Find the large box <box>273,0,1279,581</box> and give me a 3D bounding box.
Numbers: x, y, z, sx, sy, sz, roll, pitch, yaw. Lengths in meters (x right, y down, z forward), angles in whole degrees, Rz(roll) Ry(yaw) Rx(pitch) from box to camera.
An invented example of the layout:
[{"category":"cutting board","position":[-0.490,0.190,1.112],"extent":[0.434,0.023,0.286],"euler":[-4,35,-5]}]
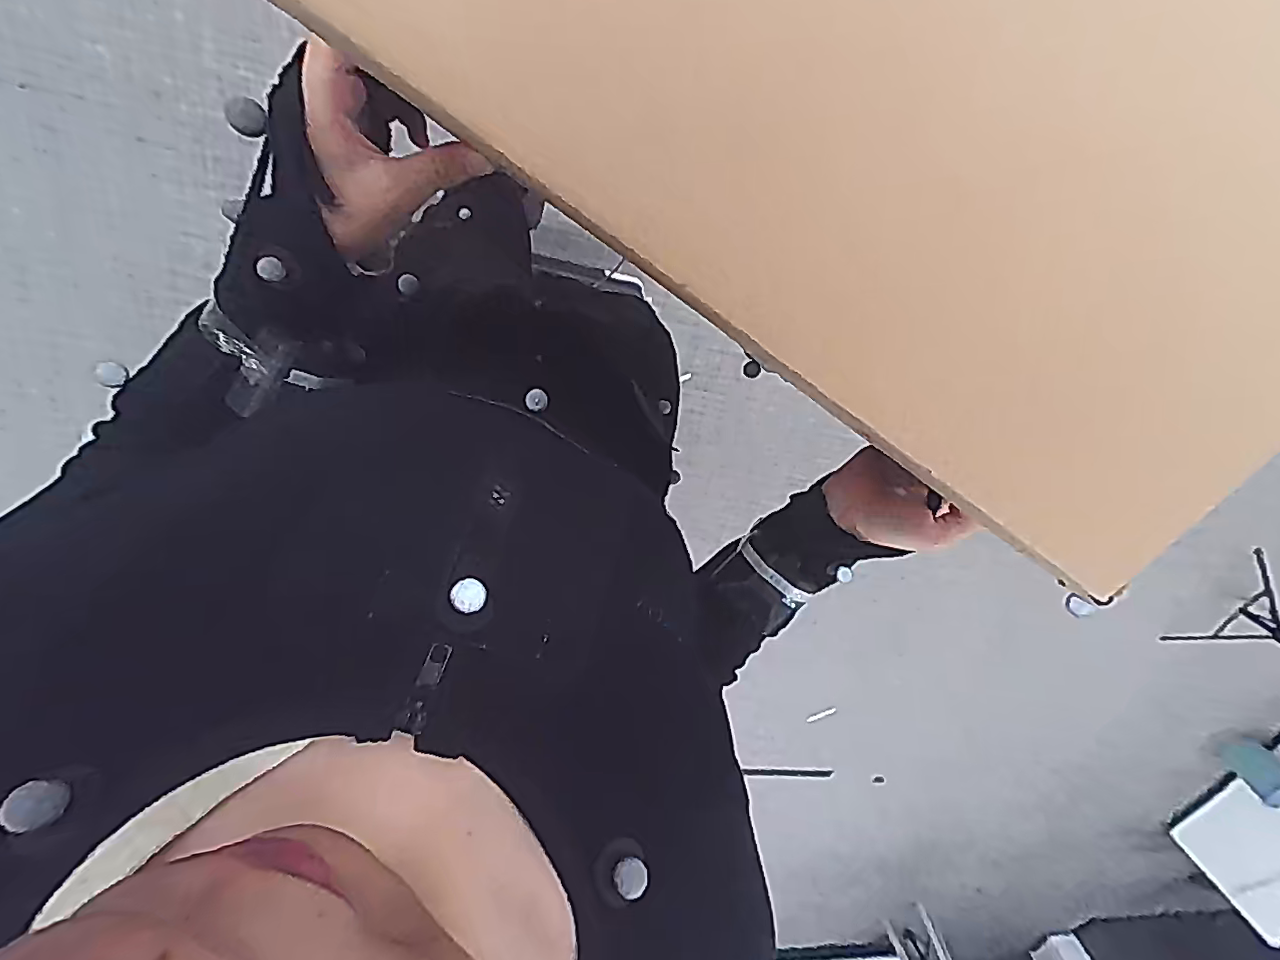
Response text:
[{"category":"large box","position":[0.117,-0.228,0.274],"extent":[0.408,0.320,0.320],"euler":[30,111,-17]}]
